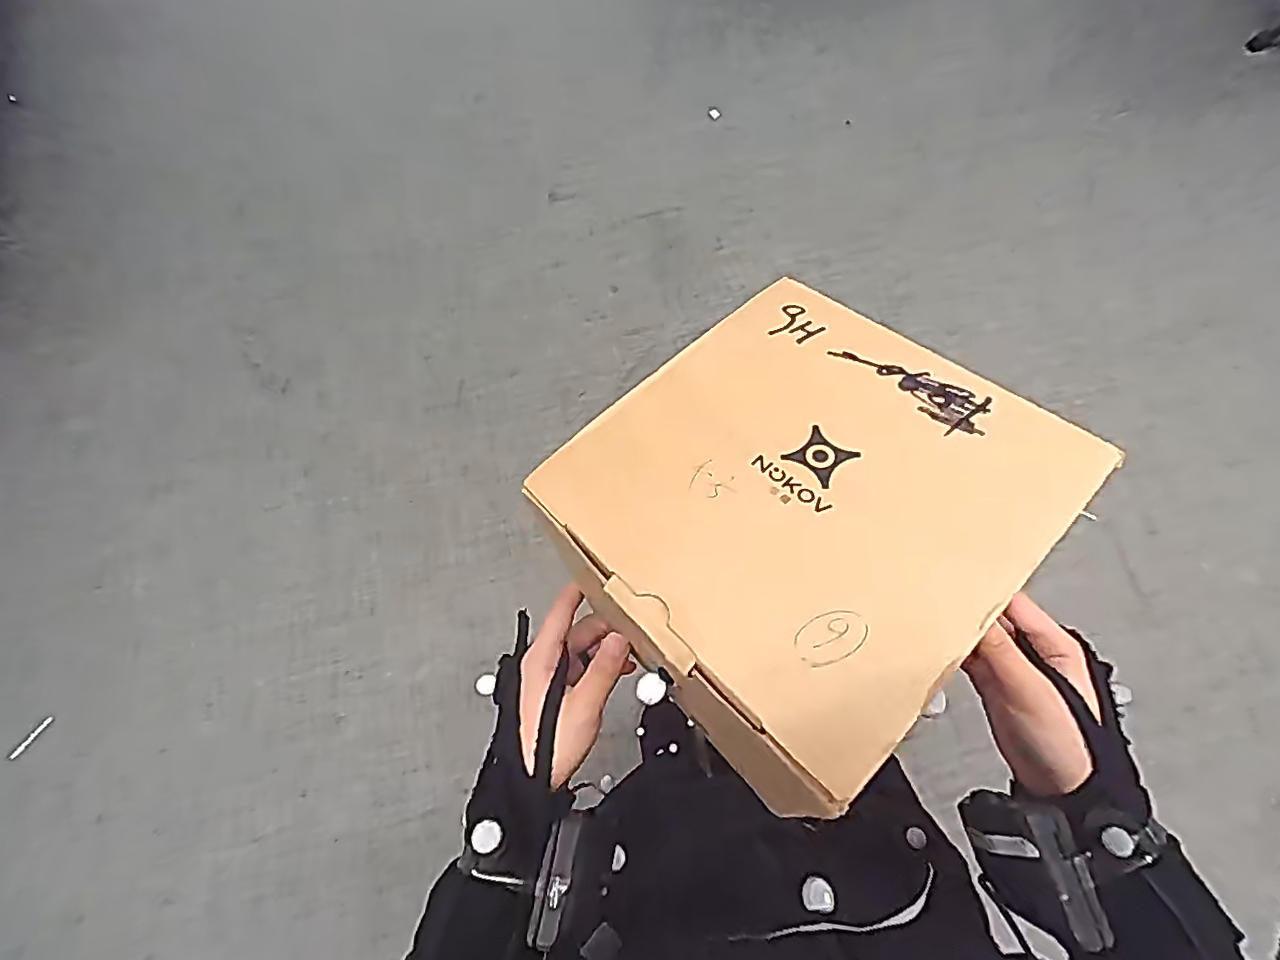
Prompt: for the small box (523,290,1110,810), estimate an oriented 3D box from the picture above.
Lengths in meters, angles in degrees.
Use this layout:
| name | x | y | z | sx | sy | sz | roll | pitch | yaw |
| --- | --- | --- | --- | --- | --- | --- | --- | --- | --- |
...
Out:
| name | x | y | z | sx | sy | sz | roll | pitch | yaw |
| --- | --- | --- | --- | --- | --- | --- | --- | --- | --- |
| small box | 0.074 | 0.043 | 0.285 | 0.179 | 0.176 | 0.168 | -40 | 60 | -16 |
